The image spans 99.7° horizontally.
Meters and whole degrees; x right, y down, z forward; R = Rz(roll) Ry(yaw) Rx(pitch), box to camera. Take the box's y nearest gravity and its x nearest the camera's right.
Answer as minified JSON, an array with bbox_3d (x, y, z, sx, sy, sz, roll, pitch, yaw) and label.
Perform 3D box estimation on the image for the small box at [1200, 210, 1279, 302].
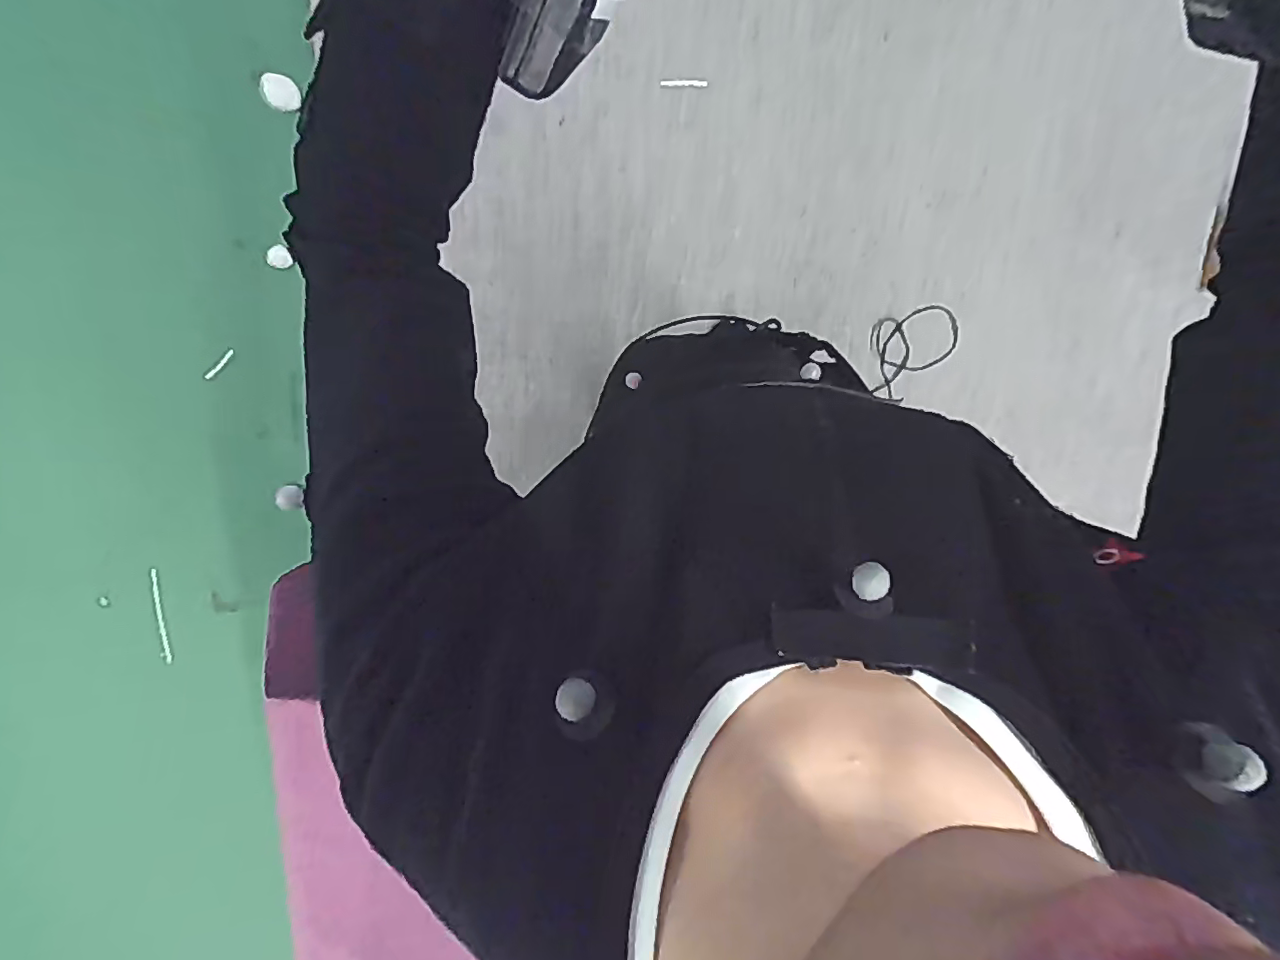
[{"bbox_3d":[1.430,-0.502,1.213,0.168,0.176,0.179,2,103,2],"label":"small box"}]
